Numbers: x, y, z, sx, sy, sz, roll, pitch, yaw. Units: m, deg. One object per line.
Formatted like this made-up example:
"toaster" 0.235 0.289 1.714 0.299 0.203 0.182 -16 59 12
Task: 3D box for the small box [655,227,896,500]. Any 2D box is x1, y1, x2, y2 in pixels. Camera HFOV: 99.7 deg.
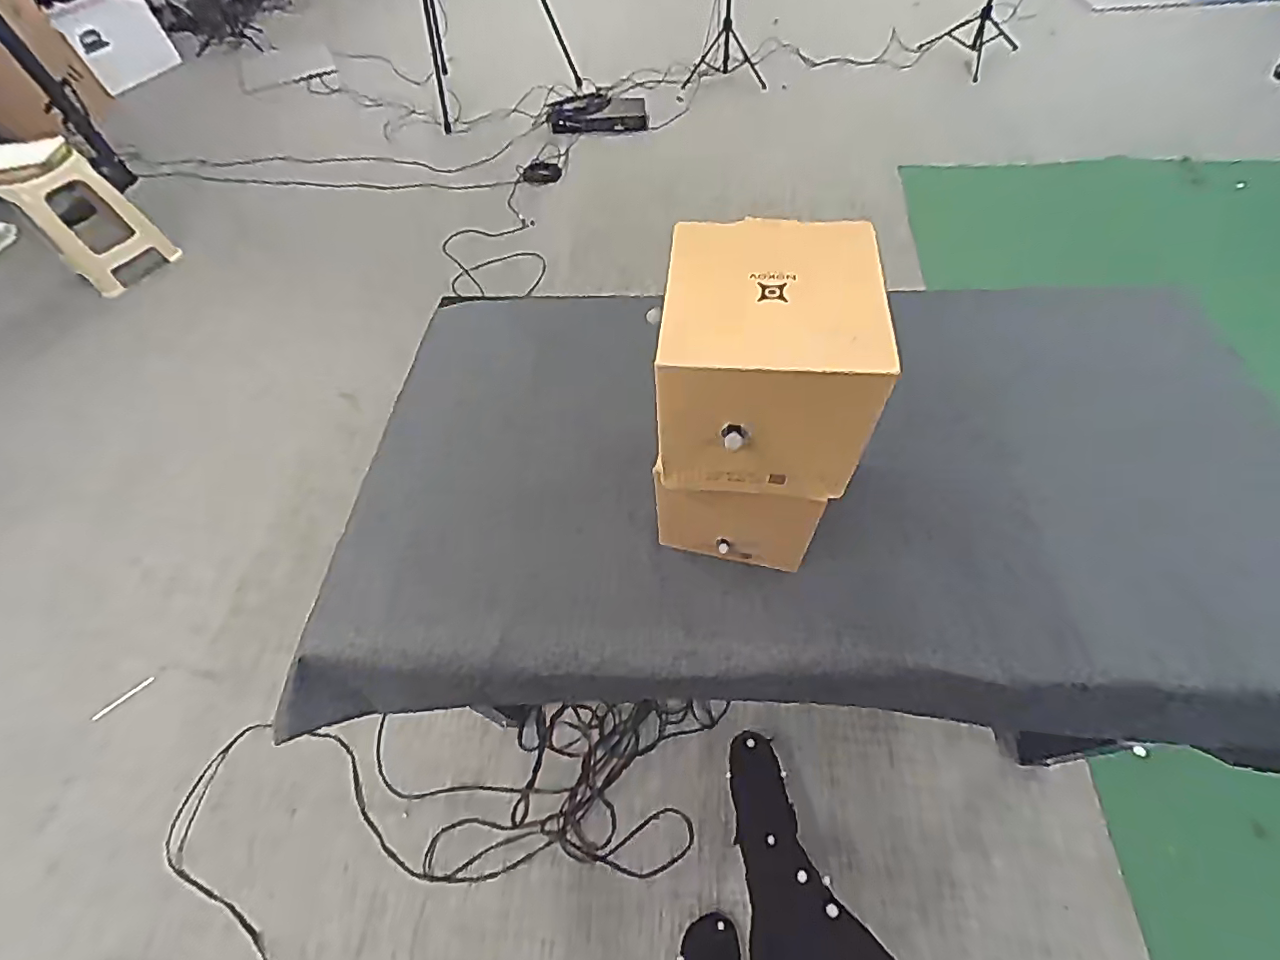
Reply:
"small box" 0.108 -0.097 0.480 0.168 0.176 0.179 3 57 7
